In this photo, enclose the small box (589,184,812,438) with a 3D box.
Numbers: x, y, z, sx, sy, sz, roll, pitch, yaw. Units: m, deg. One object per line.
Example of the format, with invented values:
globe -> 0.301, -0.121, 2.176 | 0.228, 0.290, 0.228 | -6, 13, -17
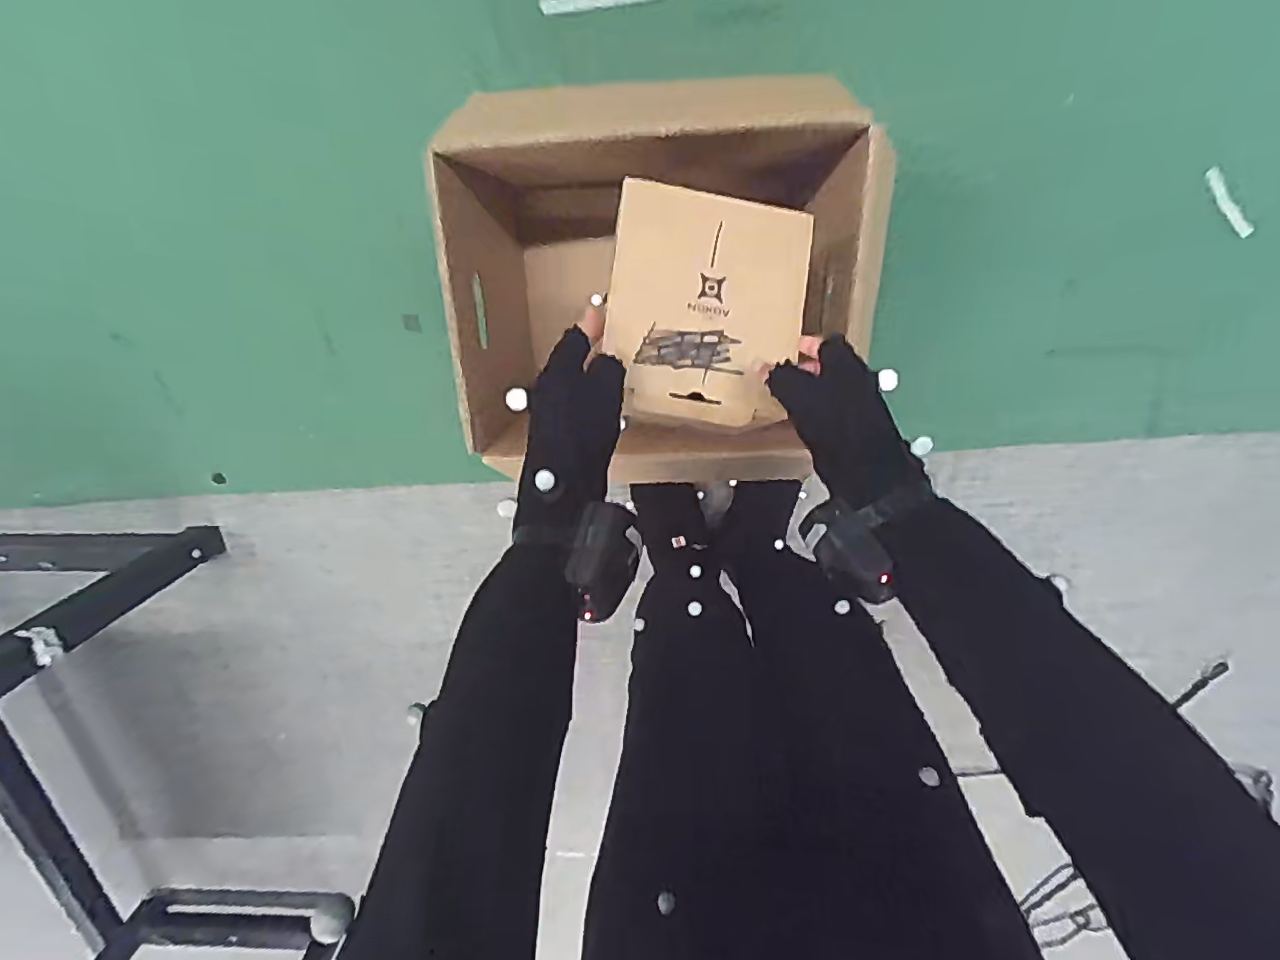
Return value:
small box -> 0.043, -0.140, 0.519 | 0.168, 0.176, 0.179 | 8, 88, -7
